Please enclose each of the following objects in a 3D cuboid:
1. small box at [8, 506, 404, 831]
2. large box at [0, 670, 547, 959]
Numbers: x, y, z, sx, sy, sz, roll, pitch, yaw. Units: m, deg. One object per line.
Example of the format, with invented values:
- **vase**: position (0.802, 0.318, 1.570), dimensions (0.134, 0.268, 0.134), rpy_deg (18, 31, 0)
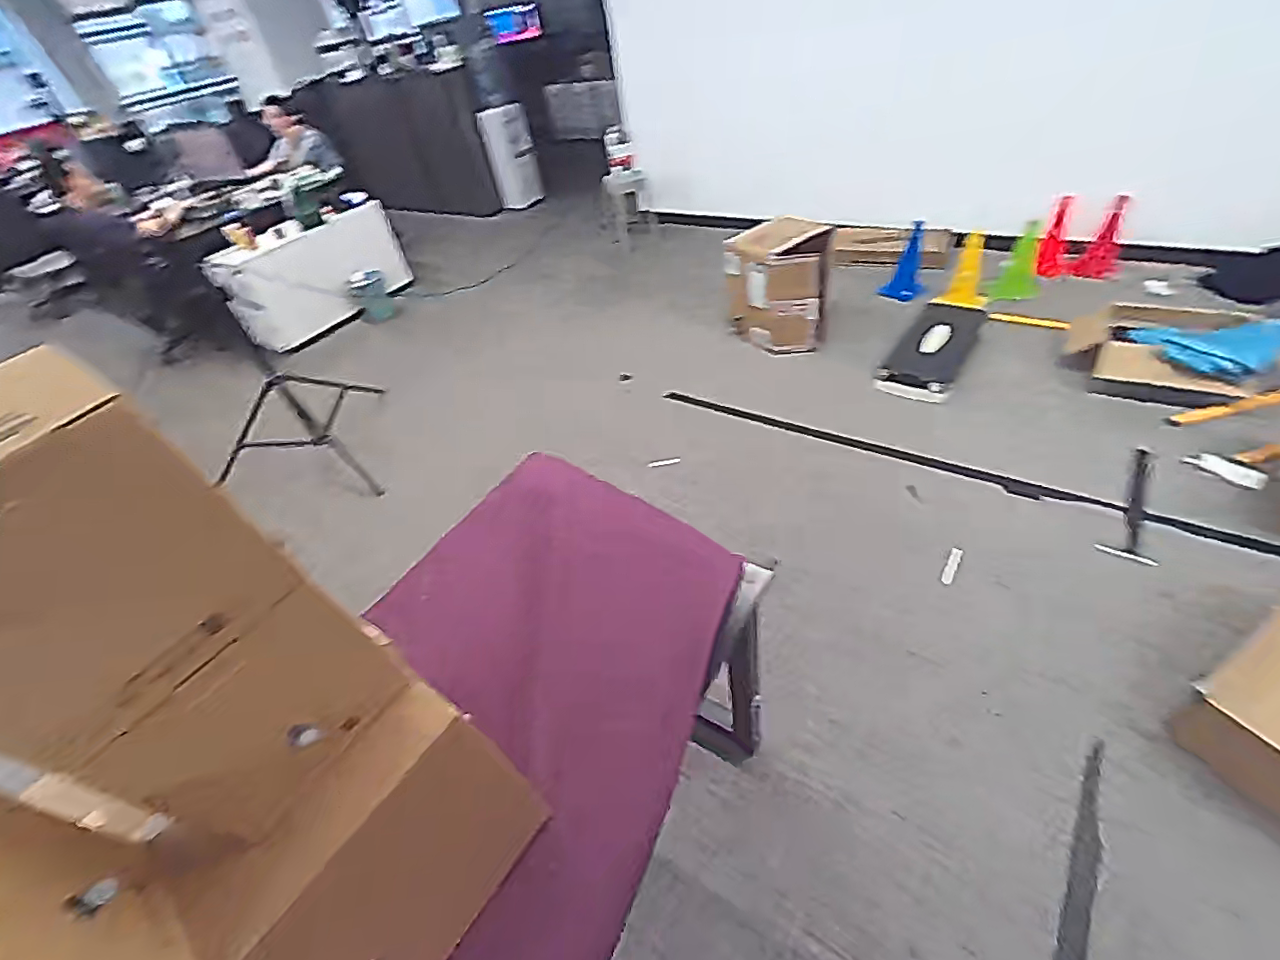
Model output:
- **small box**: position (-0.344, 0.155, 0.456), dimensions (0.179, 0.176, 0.168), rpy_deg (20, 53, 31)
- **large box**: position (-0.368, 0.402, 0.564), dimensions (0.320, 0.320, 0.408), rpy_deg (19, 52, 32)
